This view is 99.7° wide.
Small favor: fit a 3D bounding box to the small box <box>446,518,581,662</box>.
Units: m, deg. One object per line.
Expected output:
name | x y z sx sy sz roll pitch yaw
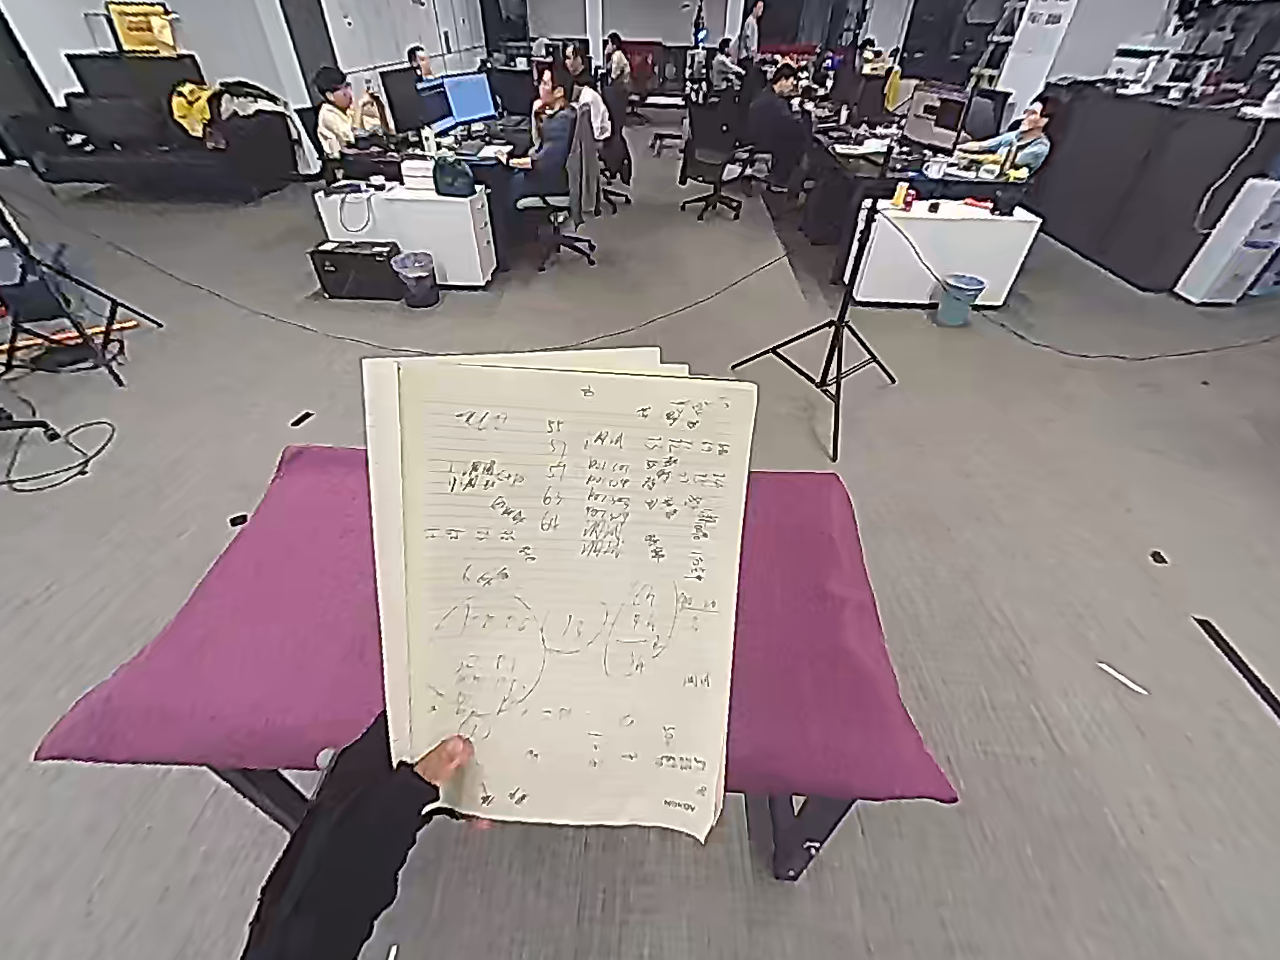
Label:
small box | -0.194 0.183 0.891 0.179 0.176 0.168 3 40 1
